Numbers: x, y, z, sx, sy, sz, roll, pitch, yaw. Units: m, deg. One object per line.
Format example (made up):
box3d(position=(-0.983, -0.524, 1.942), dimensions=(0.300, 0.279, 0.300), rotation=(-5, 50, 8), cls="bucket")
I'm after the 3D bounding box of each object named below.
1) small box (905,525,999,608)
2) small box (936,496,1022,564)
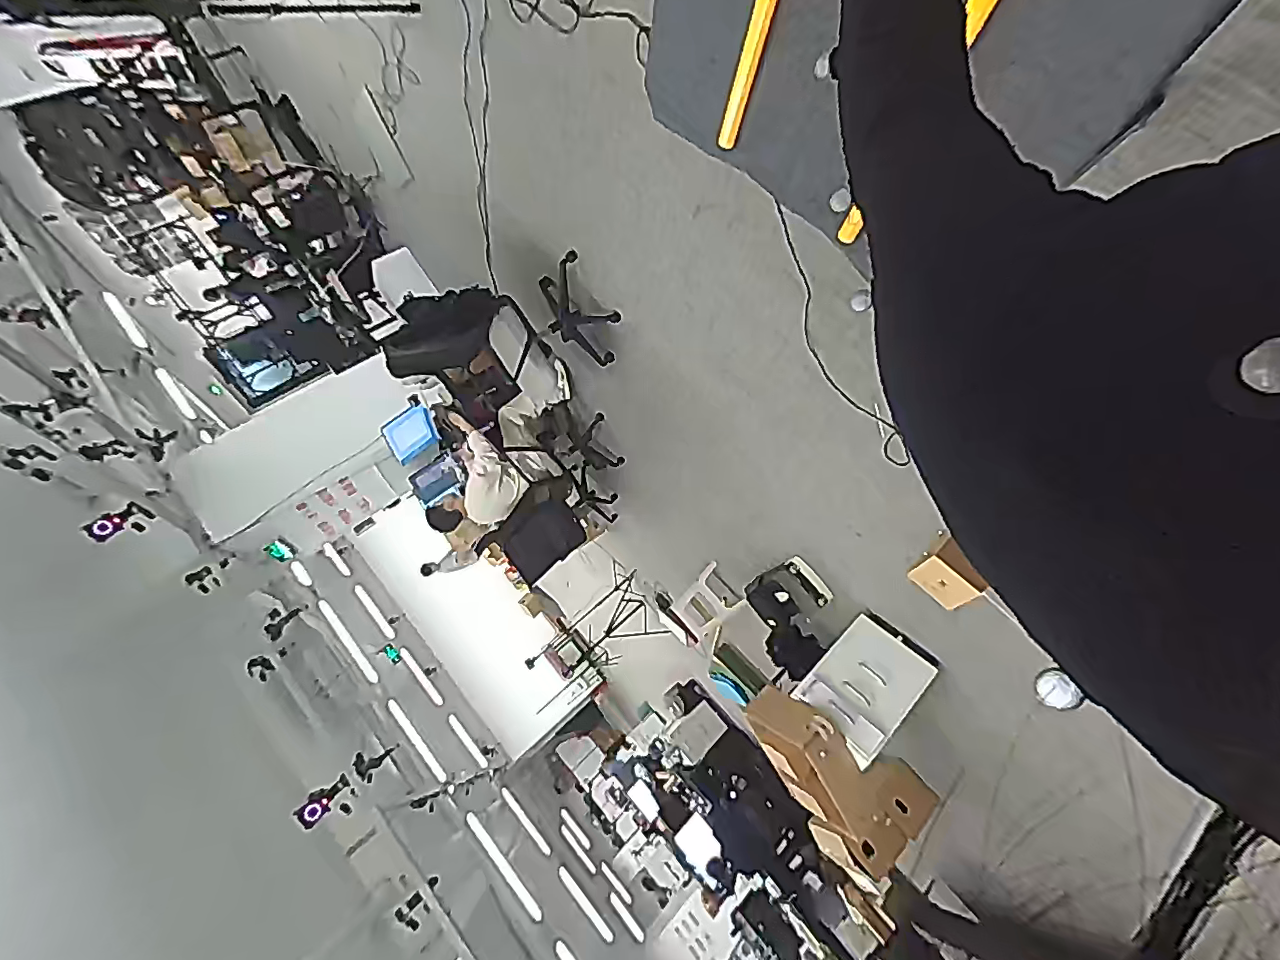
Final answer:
box3d(position=(0.987, 0.270, 1.704), dimensions=(0.168, 0.176, 0.179), rotation=(44, 157, 18), cls="small box")
box3d(position=(1.108, 0.182, 1.773), dimensions=(0.168, 0.176, 0.179), rotation=(44, 157, 16), cls="small box")
